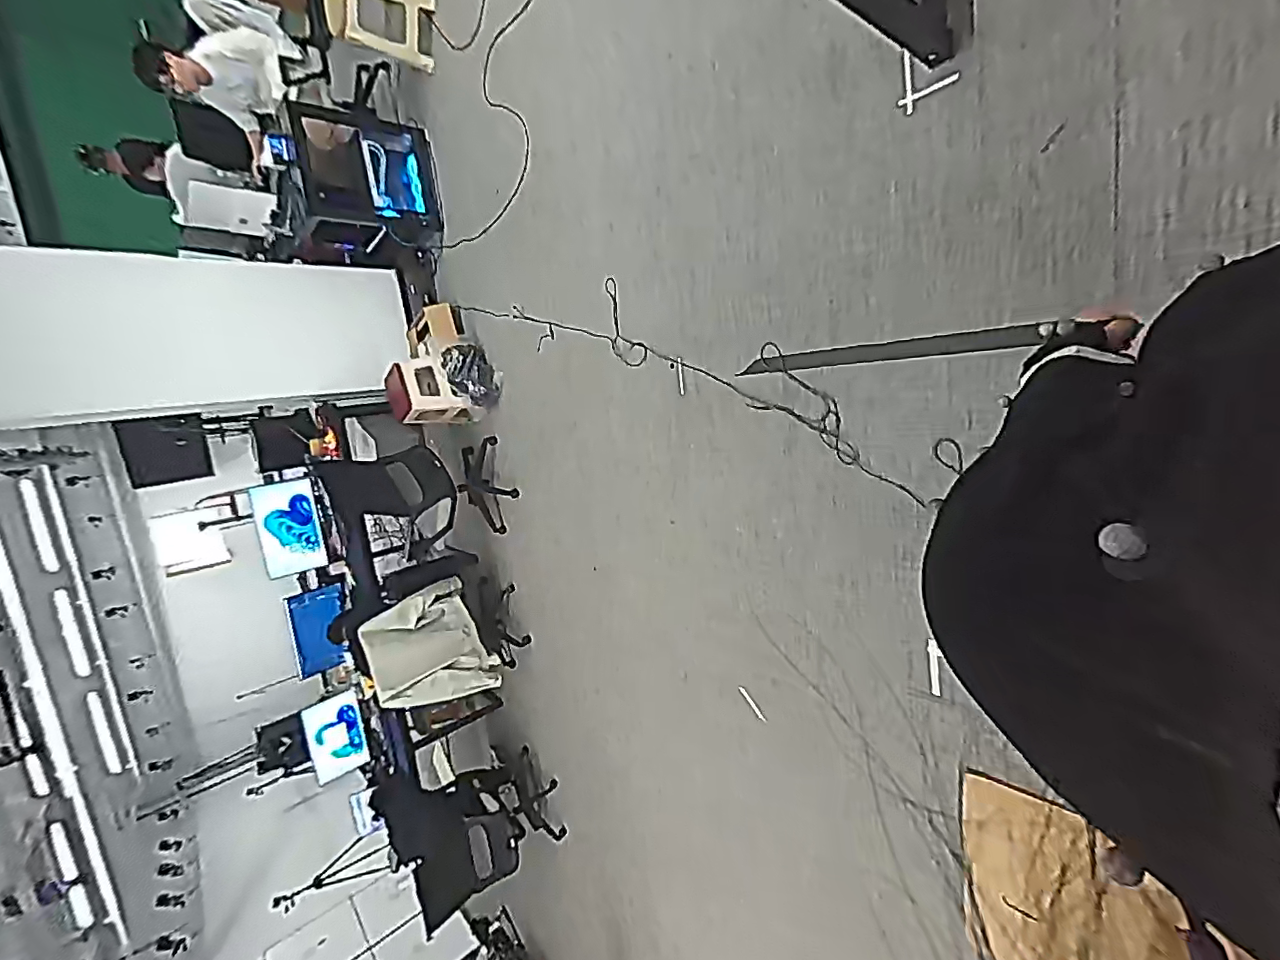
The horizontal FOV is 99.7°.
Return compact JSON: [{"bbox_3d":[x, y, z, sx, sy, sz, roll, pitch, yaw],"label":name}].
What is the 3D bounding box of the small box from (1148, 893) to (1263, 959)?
[{"bbox_3d":[1.210,1.053,1.160,0.168,0.176,0.179,2,104,50],"label":"small box"}]
